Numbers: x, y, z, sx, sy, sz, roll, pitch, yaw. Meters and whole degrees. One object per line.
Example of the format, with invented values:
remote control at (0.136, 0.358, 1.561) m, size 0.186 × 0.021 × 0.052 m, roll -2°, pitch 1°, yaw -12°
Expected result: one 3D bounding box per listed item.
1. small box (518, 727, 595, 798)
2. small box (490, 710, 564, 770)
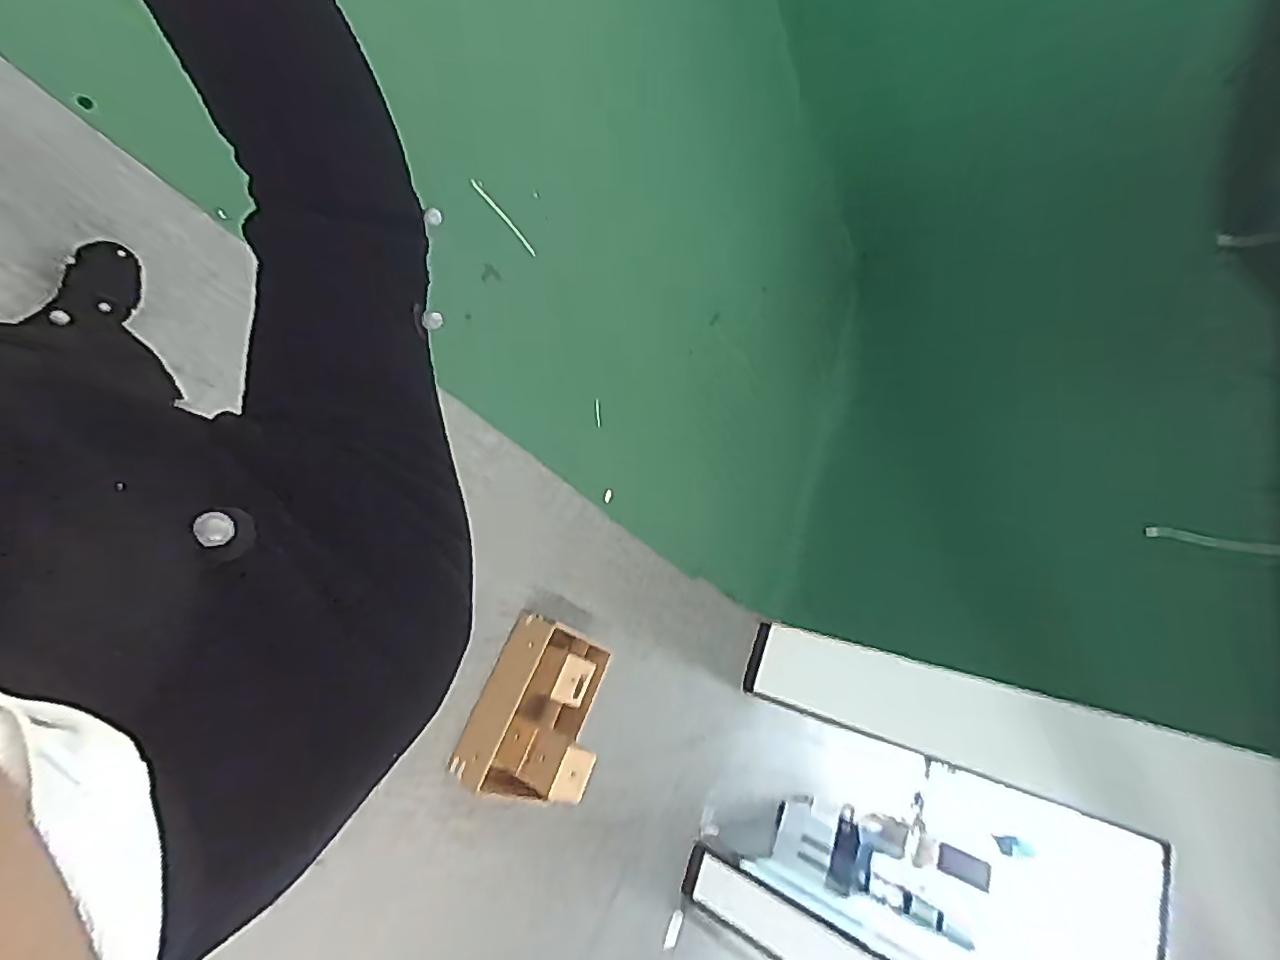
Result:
small box at (-0.301, 1.003, 1.931) m, size 0.179 × 0.176 × 0.168 m, roll 45°, pitch 61°, yaw -43°
small box at (-0.428, 0.988, 2.035) m, size 0.179 × 0.176 × 0.168 m, roll 45°, pitch 61°, yaw -43°
